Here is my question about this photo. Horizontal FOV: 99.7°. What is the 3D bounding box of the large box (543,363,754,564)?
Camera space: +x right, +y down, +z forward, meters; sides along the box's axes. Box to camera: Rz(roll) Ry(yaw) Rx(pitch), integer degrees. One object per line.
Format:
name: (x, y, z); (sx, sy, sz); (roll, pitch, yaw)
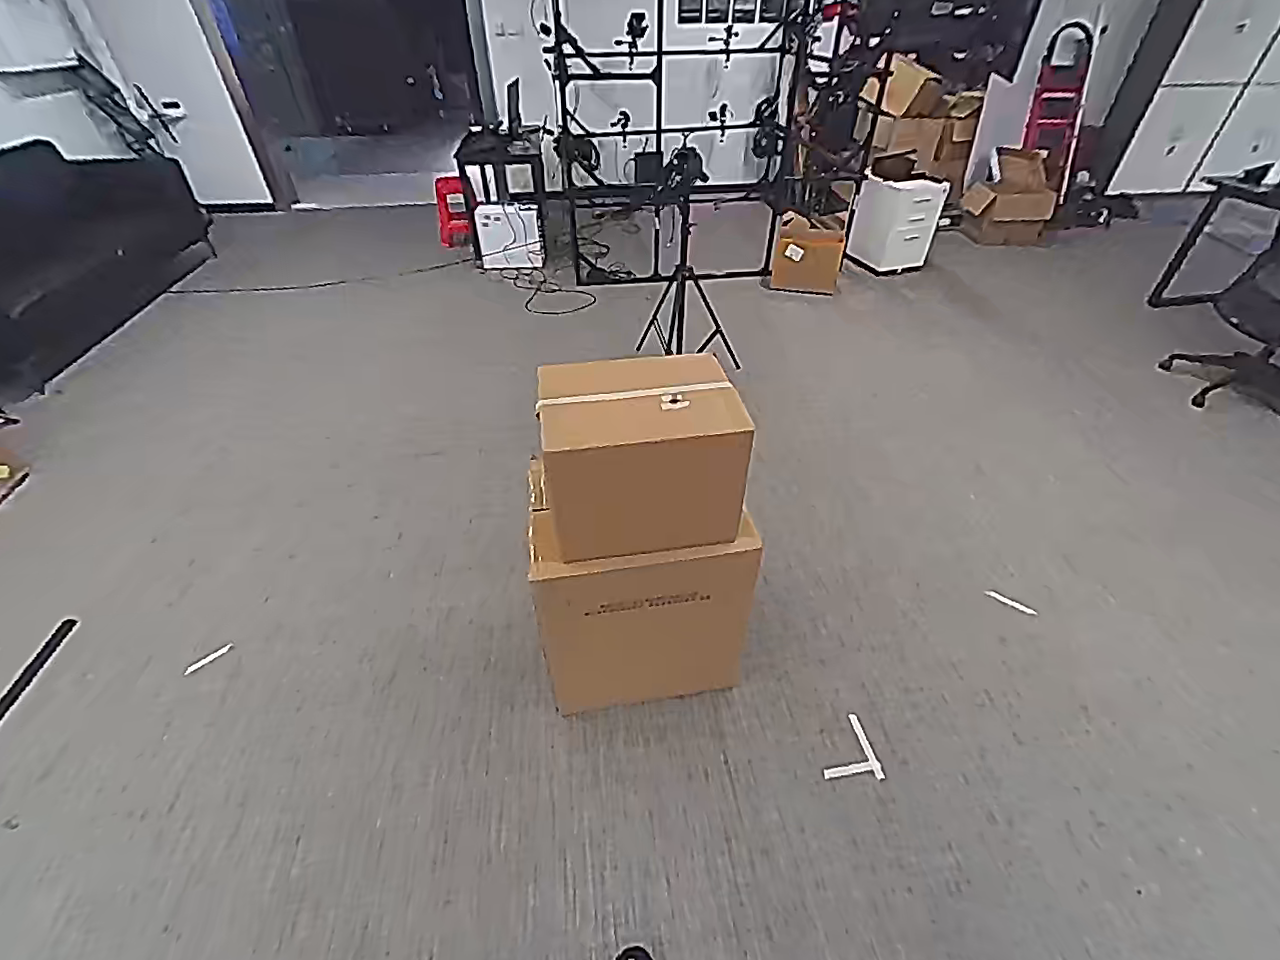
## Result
large box: (0.001, -0.042, 1.227); (0.408, 0.320, 0.320); (-6, 42, -8)
